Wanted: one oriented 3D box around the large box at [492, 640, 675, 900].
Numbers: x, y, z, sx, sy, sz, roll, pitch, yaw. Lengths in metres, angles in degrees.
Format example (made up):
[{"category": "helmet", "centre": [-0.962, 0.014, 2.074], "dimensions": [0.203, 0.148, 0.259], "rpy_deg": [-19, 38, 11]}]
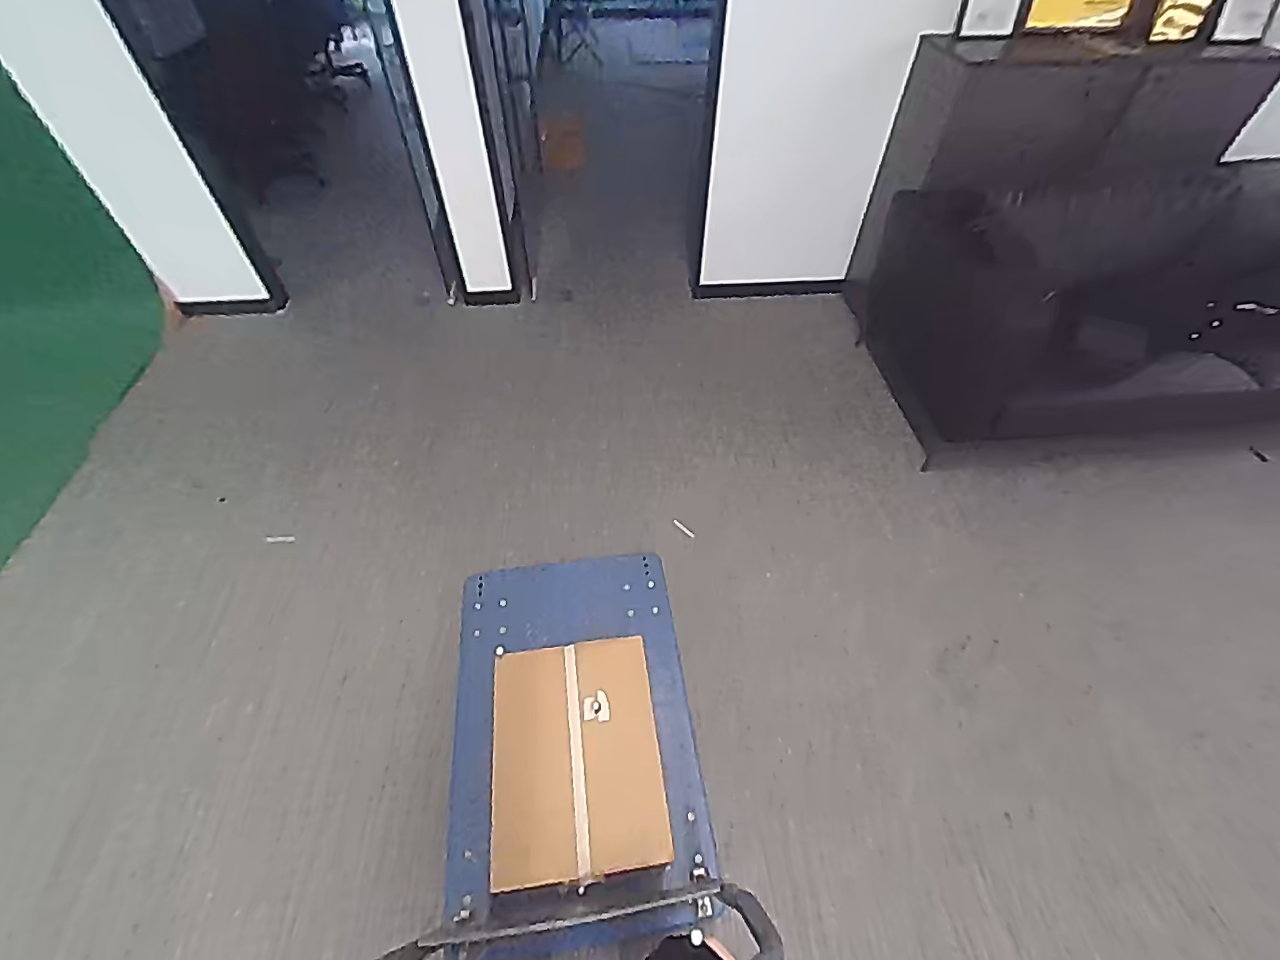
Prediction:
[{"category": "large box", "centre": [-0.122, 0.605, 1.137], "dimensions": [0.320, 0.320, 0.408], "rpy_deg": [-6, 52, -7]}]
